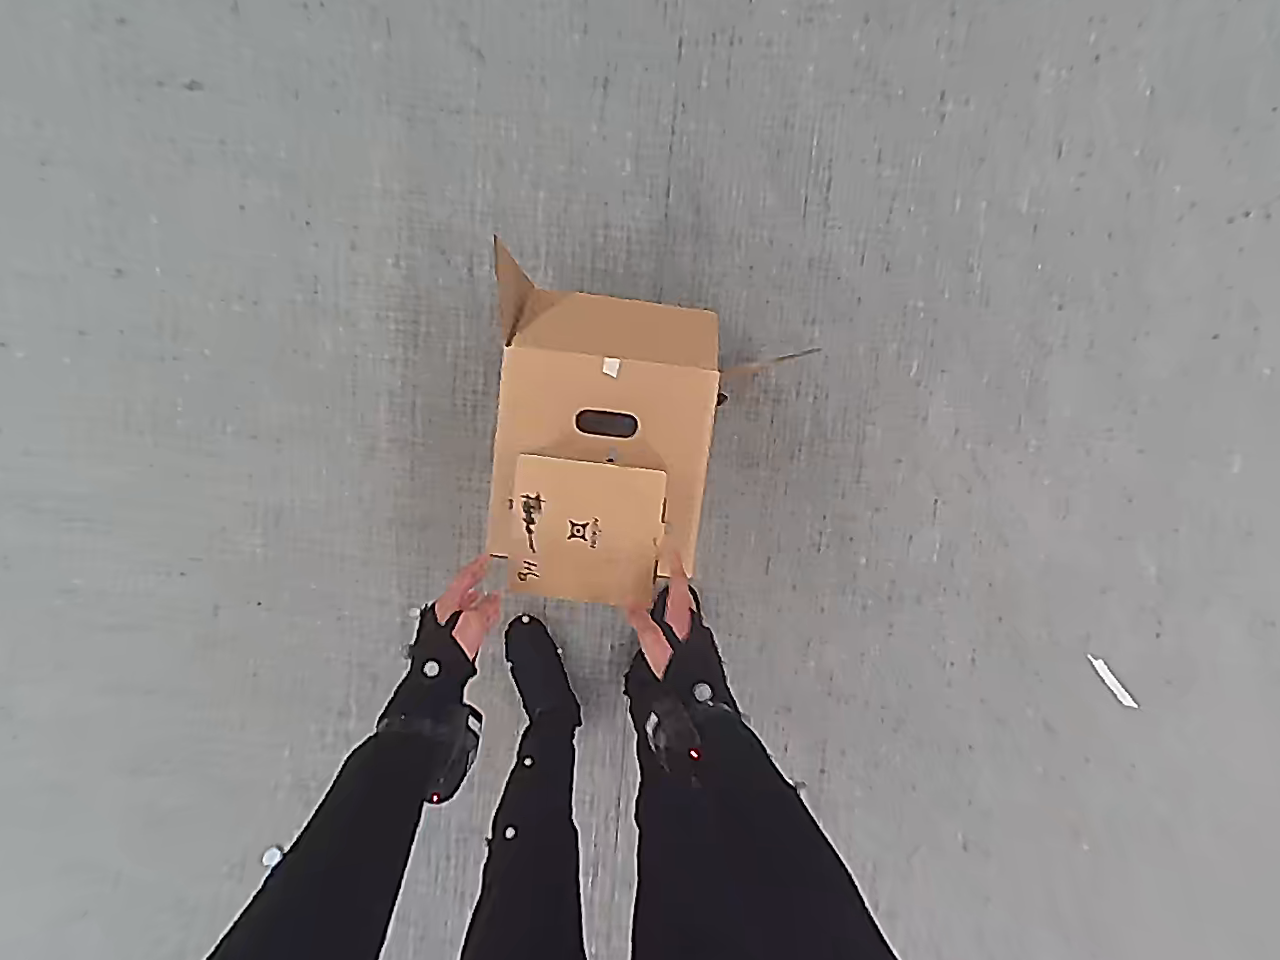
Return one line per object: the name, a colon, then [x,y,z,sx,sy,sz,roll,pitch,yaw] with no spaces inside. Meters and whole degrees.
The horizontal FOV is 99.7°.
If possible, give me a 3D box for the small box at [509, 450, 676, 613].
small box: [-0.056,0.055,0.697,0.179,0.176,0.168,8,97,0]
